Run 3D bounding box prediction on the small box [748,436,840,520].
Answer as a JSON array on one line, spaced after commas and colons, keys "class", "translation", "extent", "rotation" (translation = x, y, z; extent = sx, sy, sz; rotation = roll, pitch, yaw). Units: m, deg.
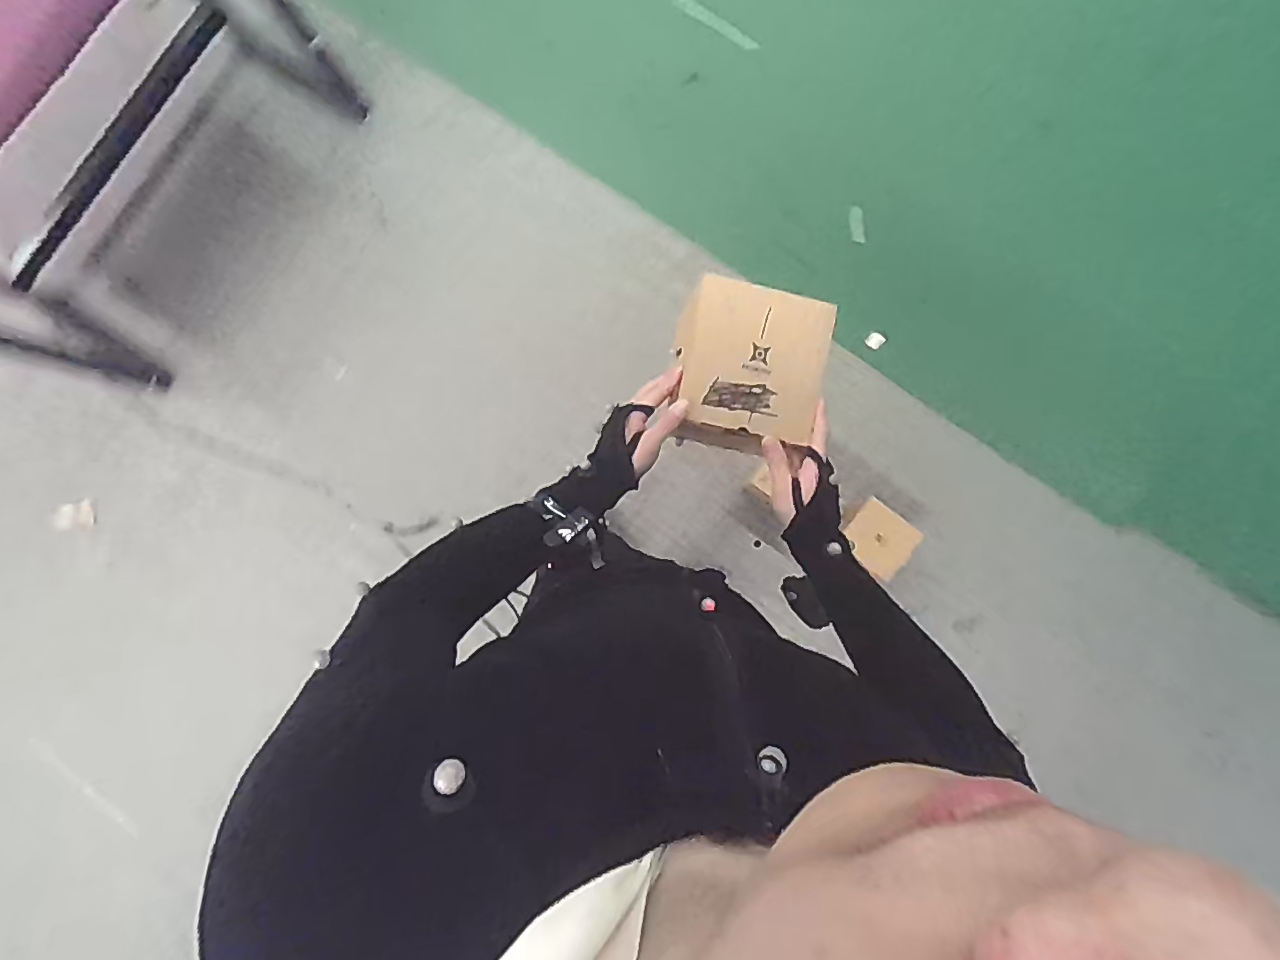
[{"class": "small box", "translation": [0.433, -0.003, 1.554], "extent": [0.179, 0.176, 0.168], "rotation": [38, 89, 5]}]
